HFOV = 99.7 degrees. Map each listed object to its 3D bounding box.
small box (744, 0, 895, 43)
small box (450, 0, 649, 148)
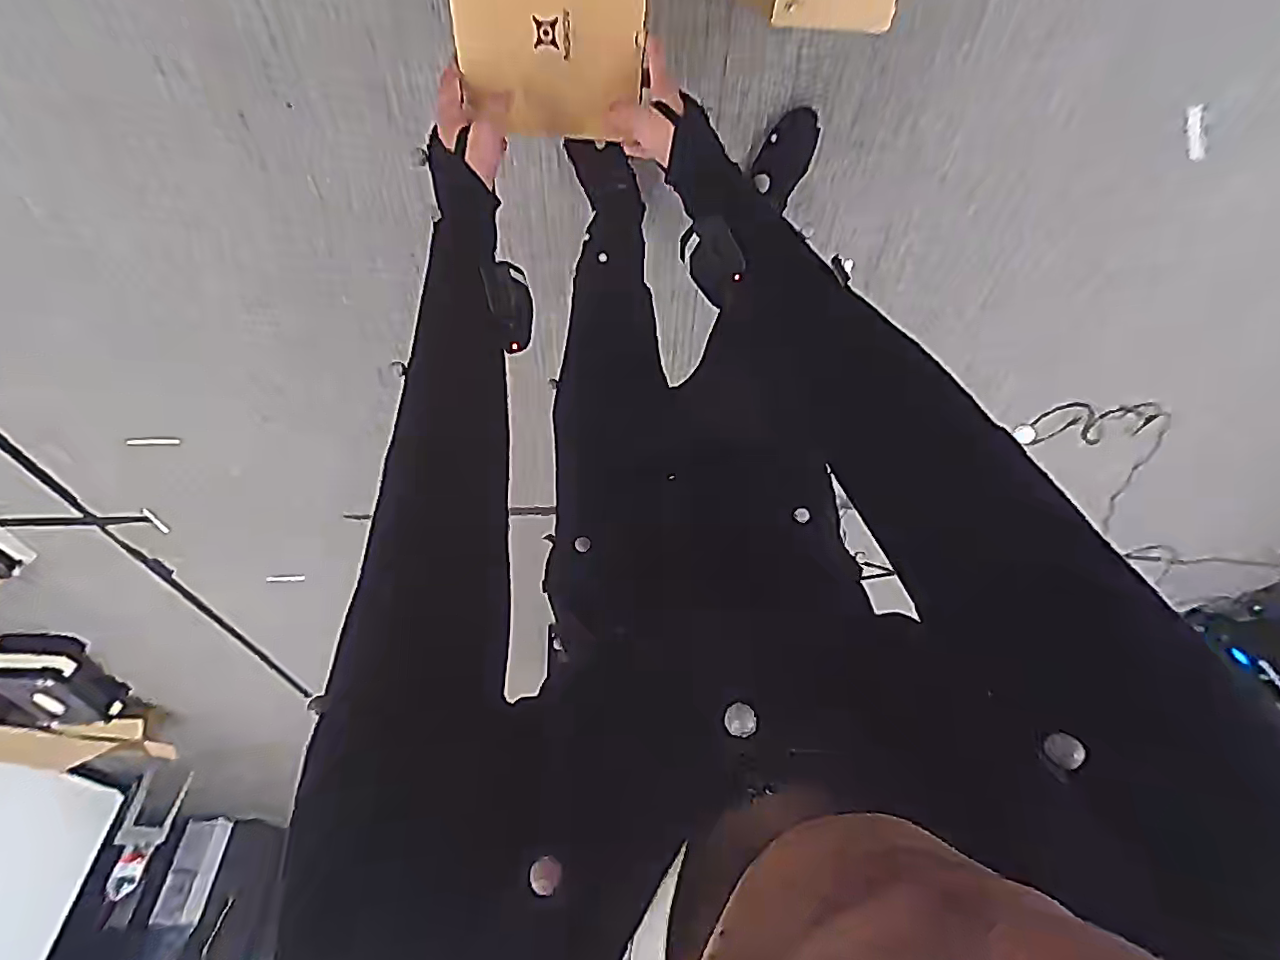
[{"bbox_3d":[0.263,-0.746,0.764,0.179,0.176,0.168,-1,138,-7],"label":"small box"},{"bbox_3d":[-0.089,-0.457,0.548,0.179,0.176,0.168,-2,136,-8],"label":"small box"}]
